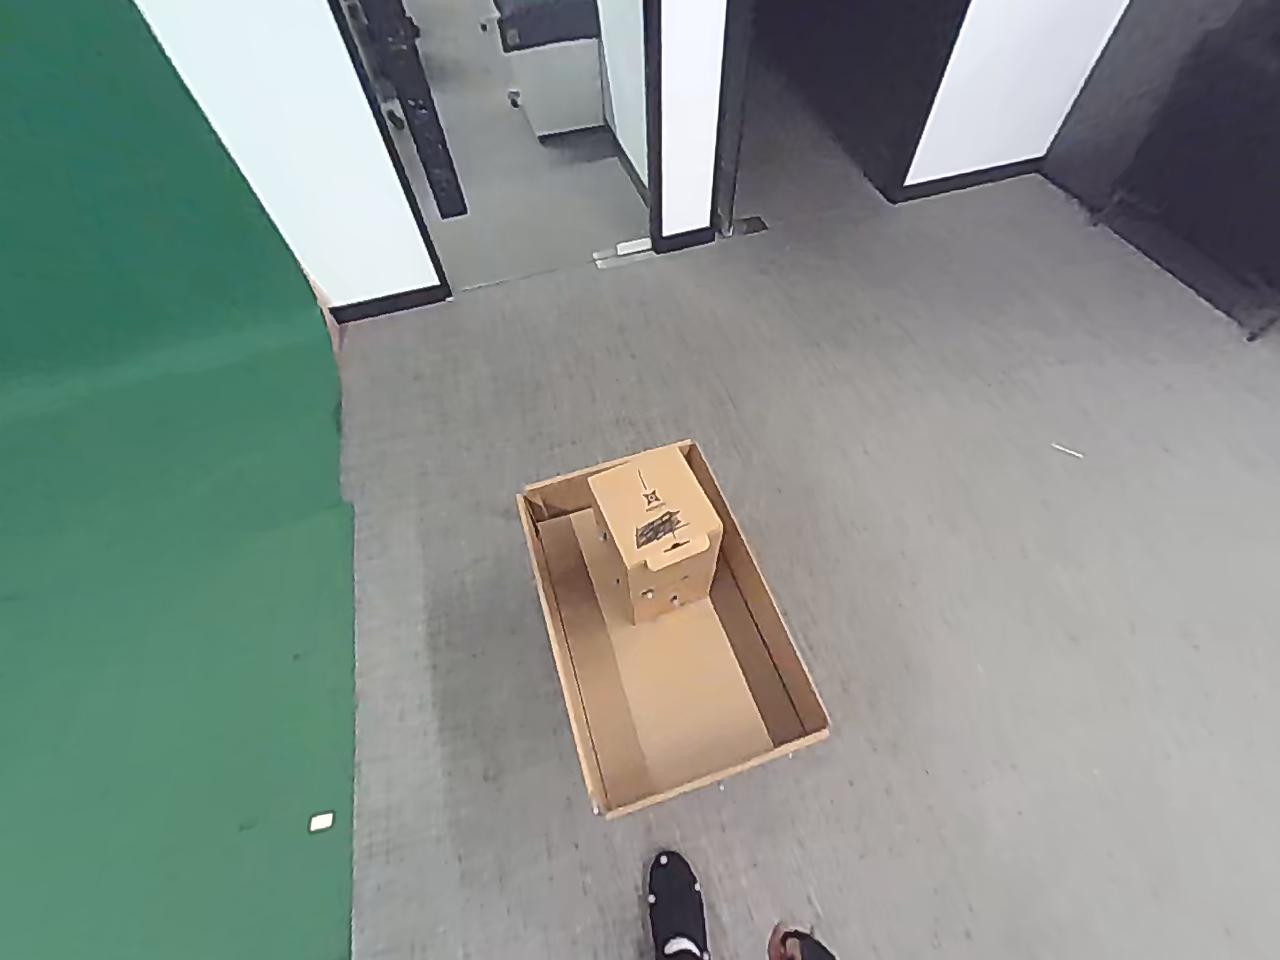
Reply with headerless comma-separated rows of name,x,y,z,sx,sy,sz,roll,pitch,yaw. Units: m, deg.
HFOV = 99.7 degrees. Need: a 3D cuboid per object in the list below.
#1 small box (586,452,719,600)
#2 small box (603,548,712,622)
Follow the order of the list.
small box,0.020,0.087,0.926,0.168,0.176,0.179,-20,60,-11
small box,0.028,0.166,1.070,0.168,0.176,0.179,-19,61,-11
